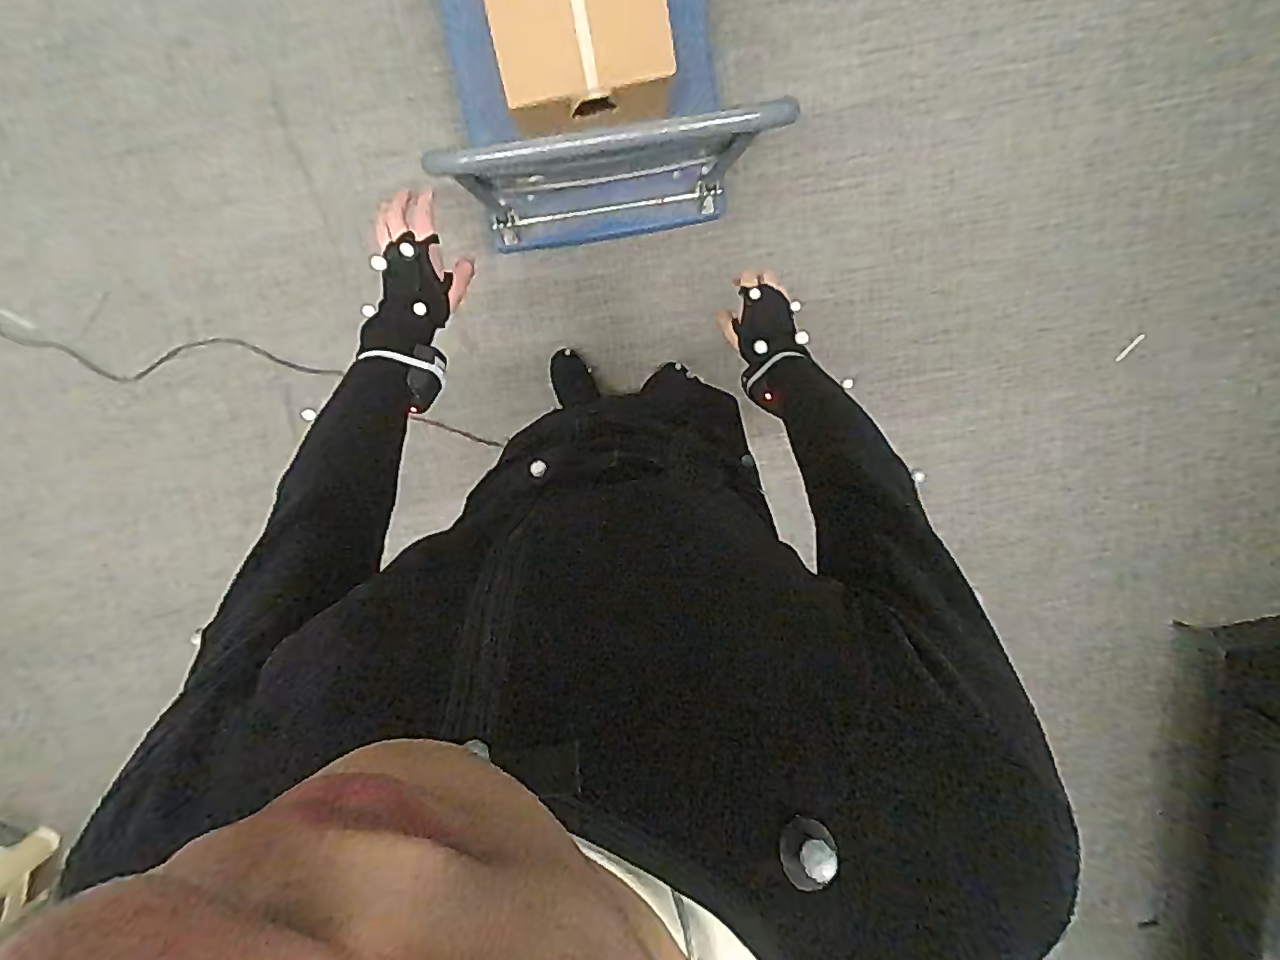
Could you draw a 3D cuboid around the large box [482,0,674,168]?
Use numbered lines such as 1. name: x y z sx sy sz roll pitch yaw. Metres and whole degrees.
1. large box: -0.131 -0.917 1.082 0.320 0.320 0.408 -12 104 1
